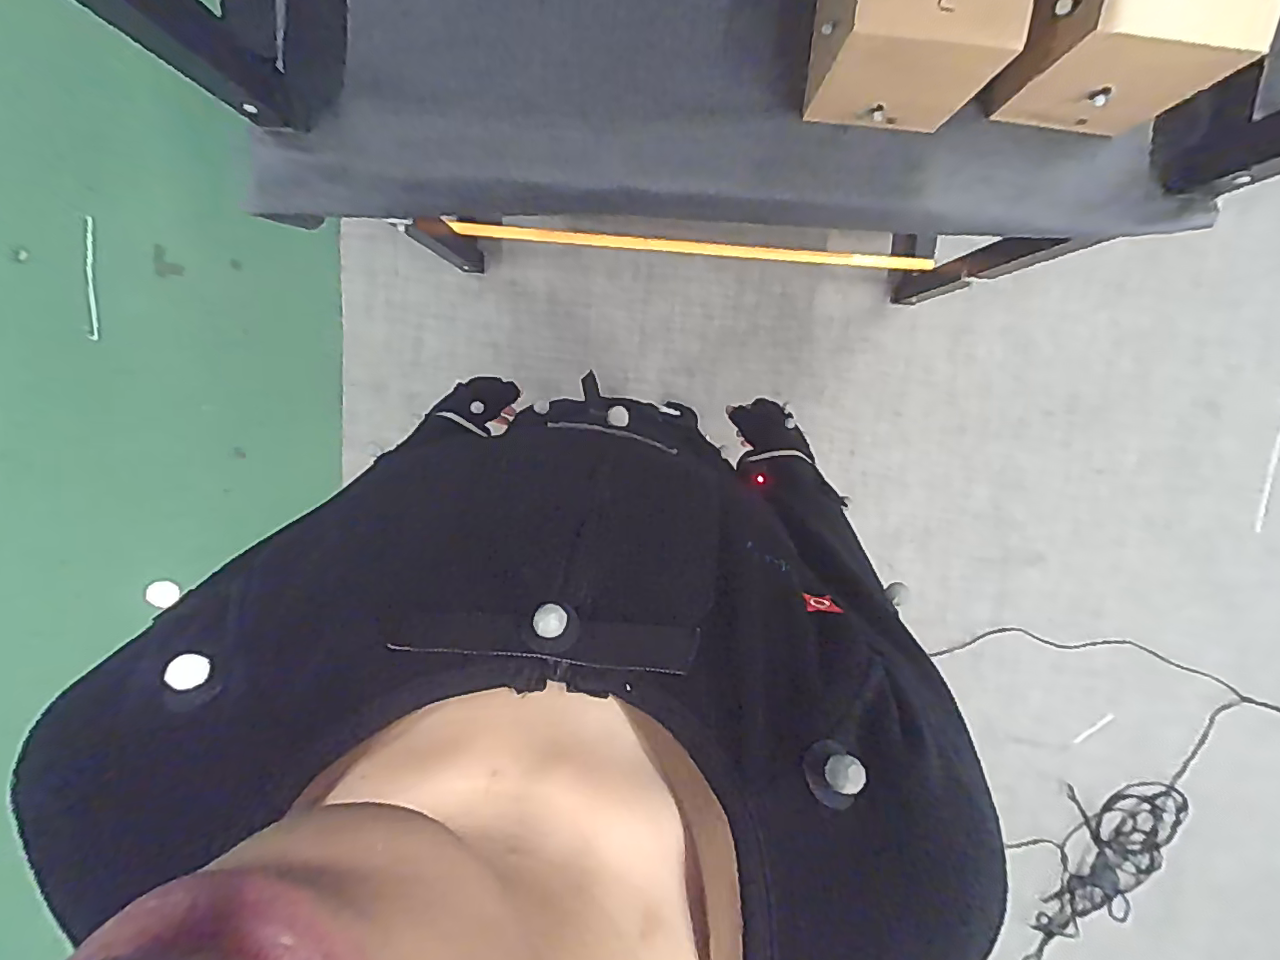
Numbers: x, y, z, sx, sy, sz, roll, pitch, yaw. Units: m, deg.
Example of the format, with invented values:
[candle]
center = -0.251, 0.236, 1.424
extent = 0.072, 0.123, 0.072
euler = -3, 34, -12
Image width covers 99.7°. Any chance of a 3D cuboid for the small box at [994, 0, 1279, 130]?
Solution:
[small box]
center = 0.519, -0.509, 0.576
extent = 0.168, 0.176, 0.179
euler = 8, 99, -1
